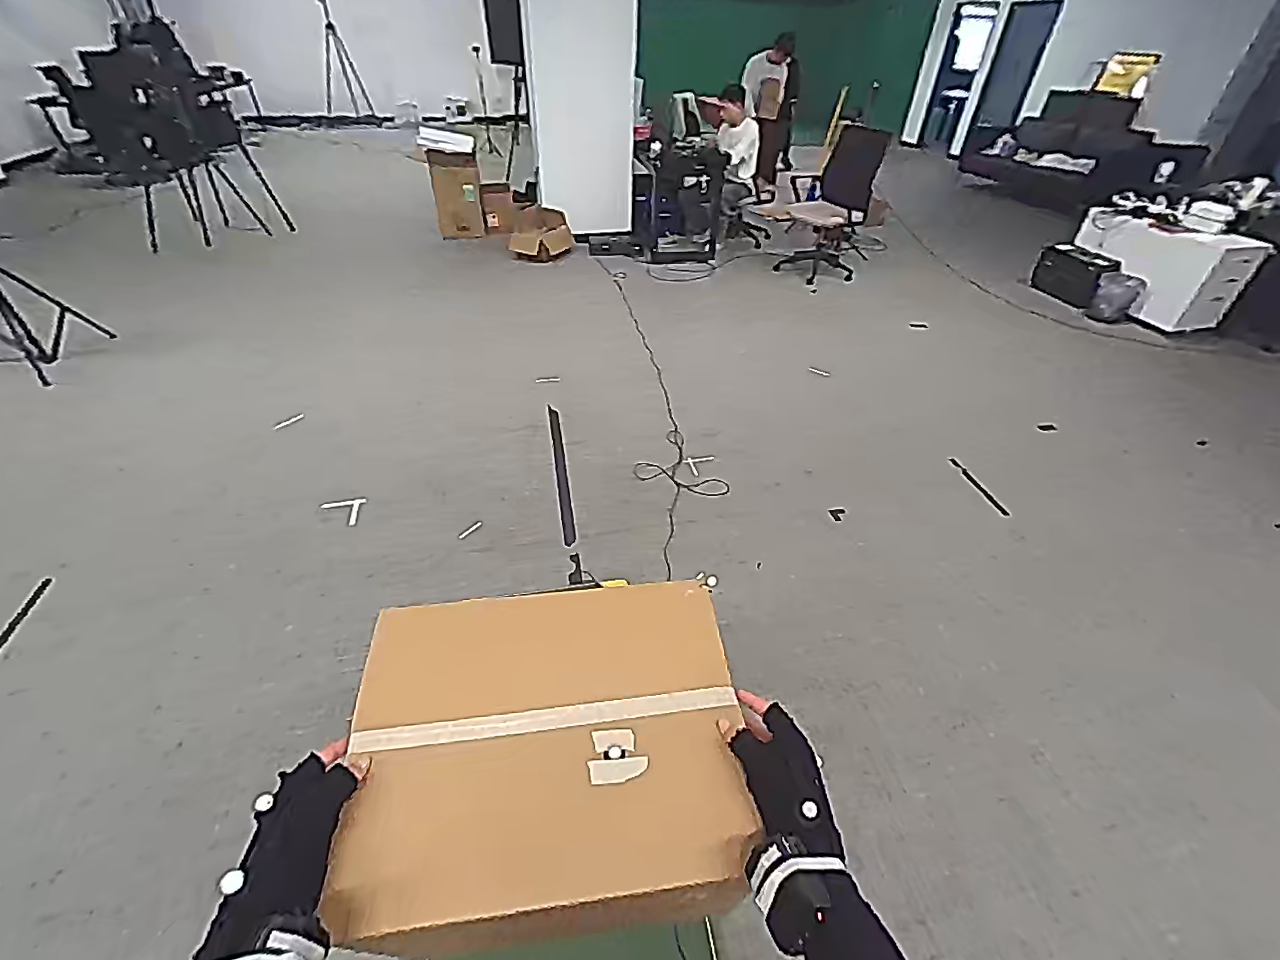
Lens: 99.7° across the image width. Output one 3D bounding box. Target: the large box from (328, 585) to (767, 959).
[{"bbox_3d":[-0.101,0.367,0.693,0.408,0.320,0.320,-4,46,-7],"label":"large box"}]
